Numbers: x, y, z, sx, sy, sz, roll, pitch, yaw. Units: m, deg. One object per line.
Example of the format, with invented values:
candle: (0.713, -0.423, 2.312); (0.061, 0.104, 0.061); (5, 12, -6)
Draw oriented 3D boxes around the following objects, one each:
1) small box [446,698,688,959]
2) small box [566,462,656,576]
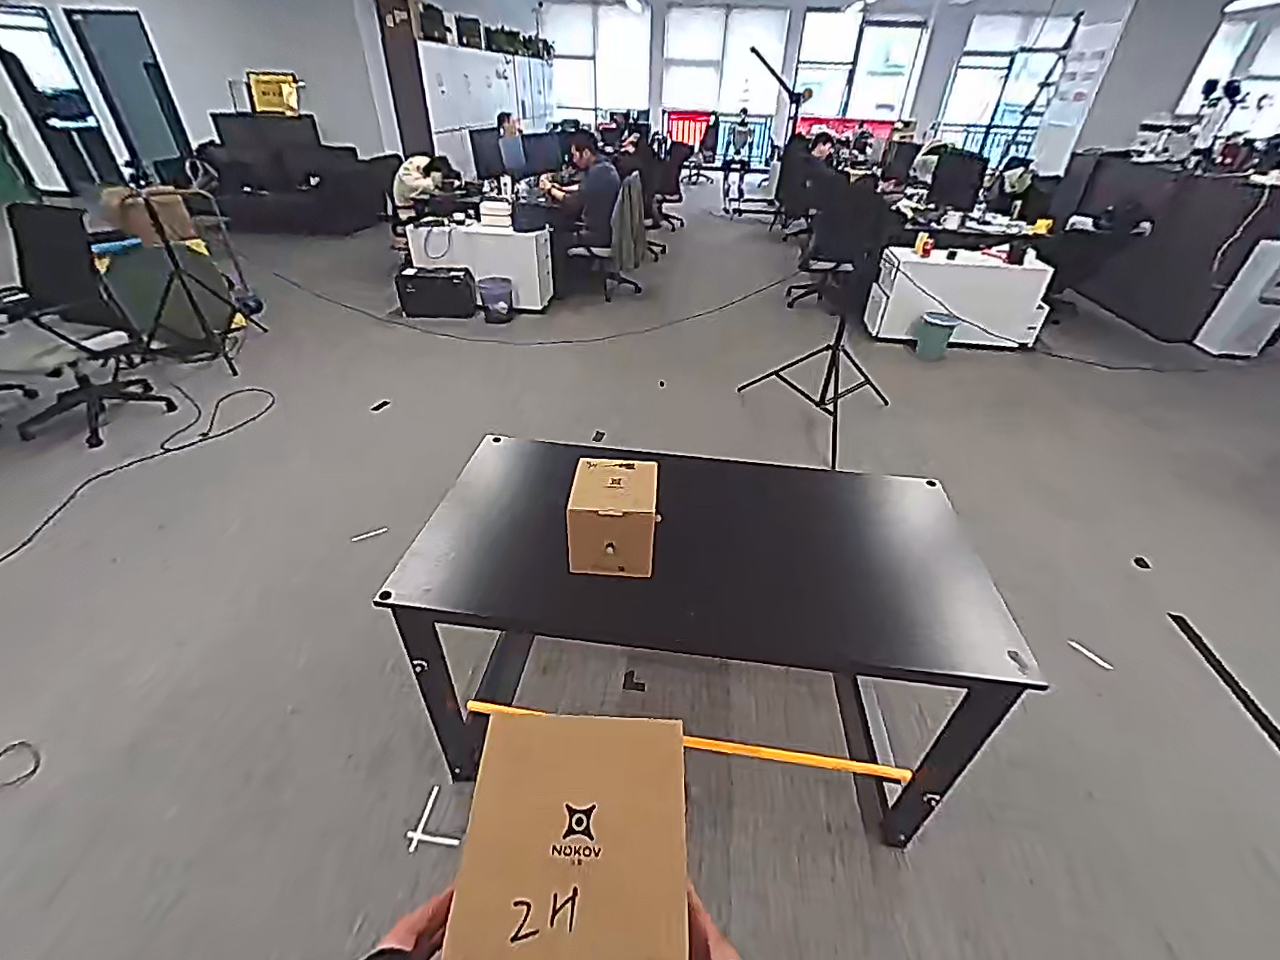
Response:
small box: (-0.051, 0.314, 0.474); (0.168, 0.176, 0.179); (2, 46, -1)
small box: (-0.053, 0.082, 1.119); (0.168, 0.176, 0.179); (3, 36, 2)
